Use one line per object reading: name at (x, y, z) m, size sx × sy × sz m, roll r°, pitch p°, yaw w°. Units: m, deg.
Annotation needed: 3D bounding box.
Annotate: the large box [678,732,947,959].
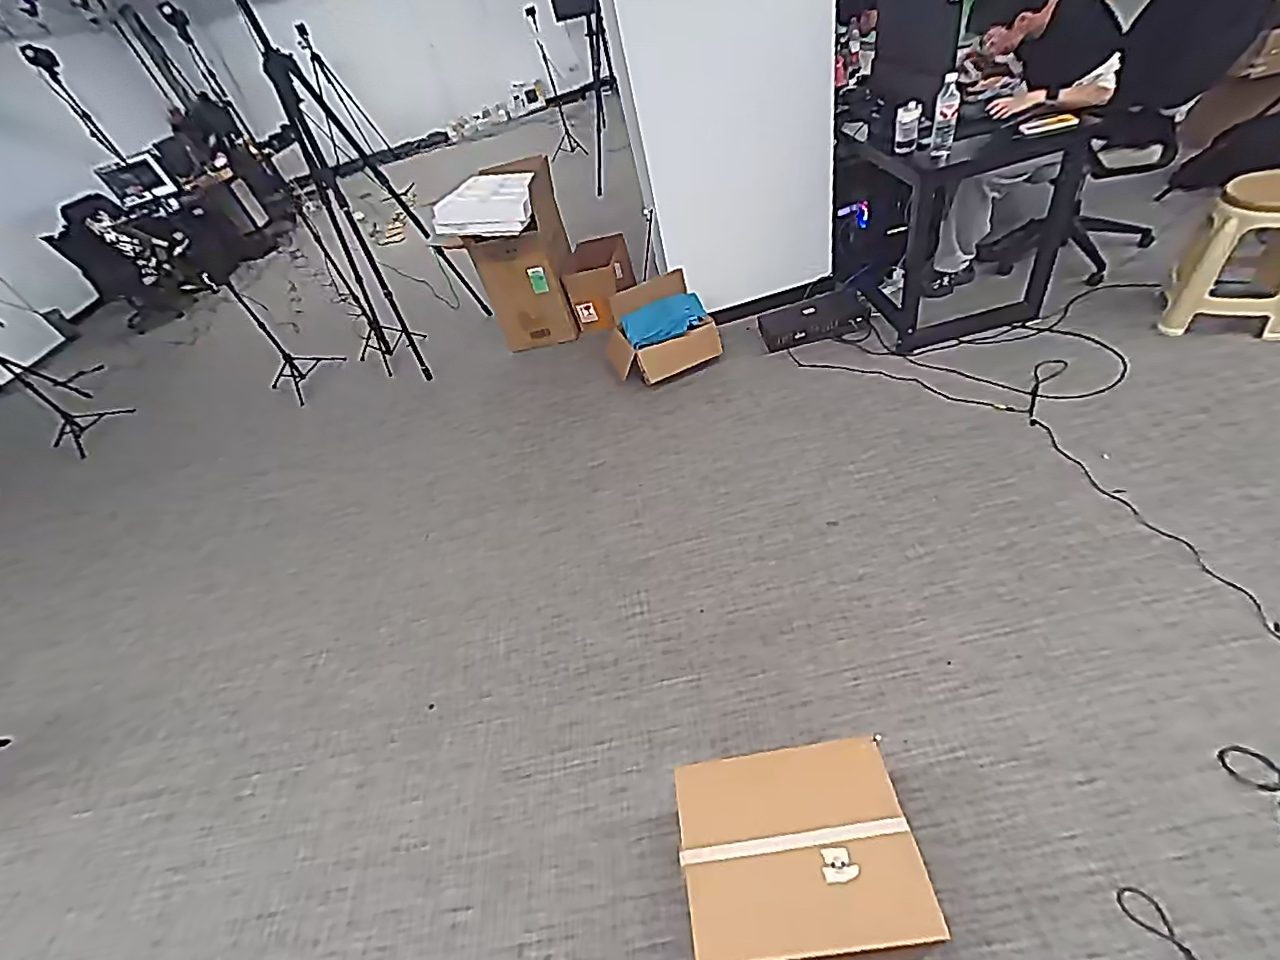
large box at (0.314, 0.750, 1.077) m, size 0.408 × 0.320 × 0.320 m, roll -12°, pitch 44°, yaw 6°
